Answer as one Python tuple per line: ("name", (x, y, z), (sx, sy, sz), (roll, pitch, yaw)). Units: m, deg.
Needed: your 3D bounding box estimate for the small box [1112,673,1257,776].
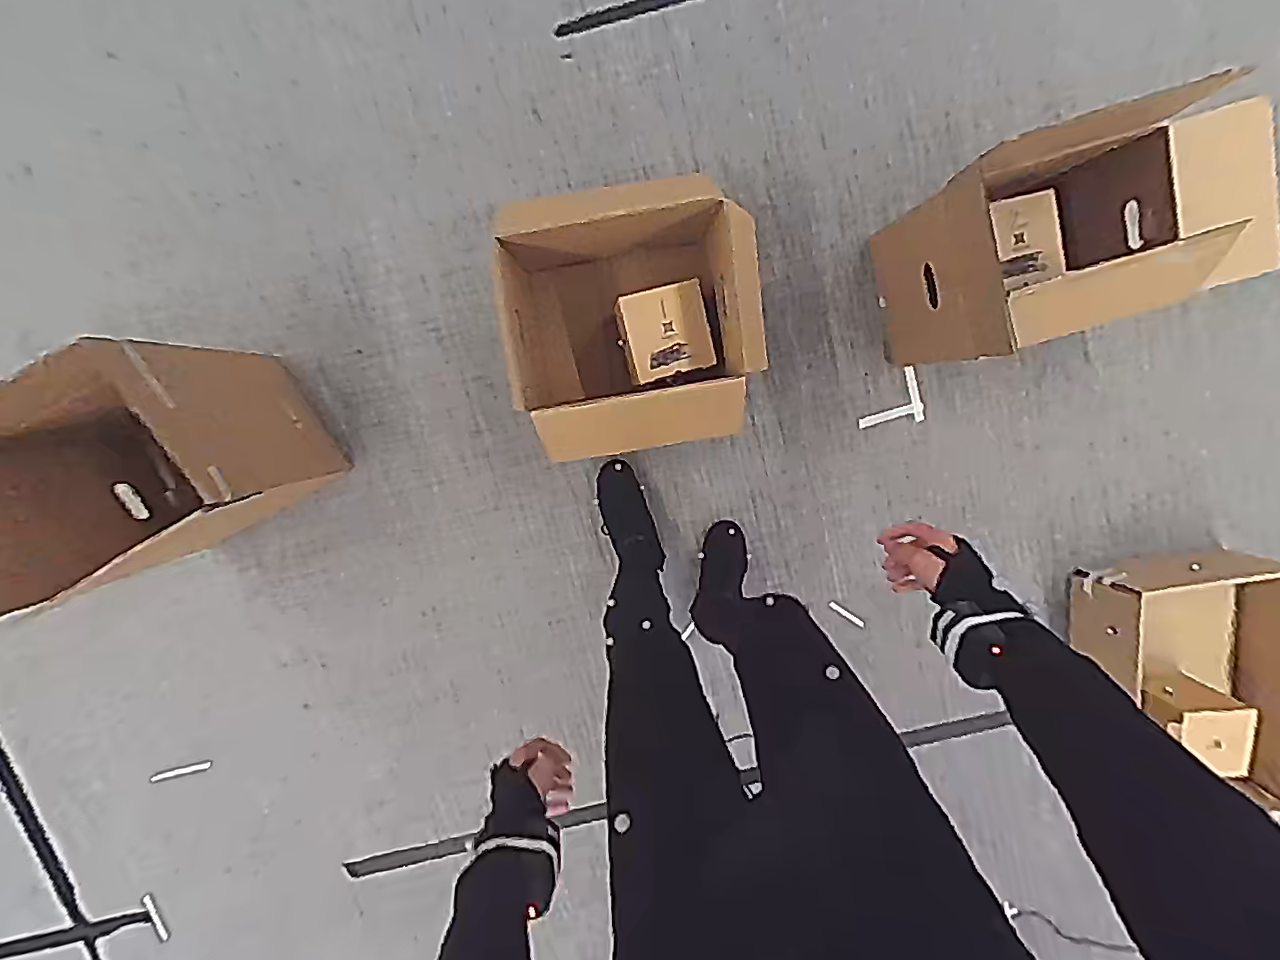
("small box", (1.290, 0.578, 1.294), (0.179, 0.176, 0.168), (-1, 99, -1))
